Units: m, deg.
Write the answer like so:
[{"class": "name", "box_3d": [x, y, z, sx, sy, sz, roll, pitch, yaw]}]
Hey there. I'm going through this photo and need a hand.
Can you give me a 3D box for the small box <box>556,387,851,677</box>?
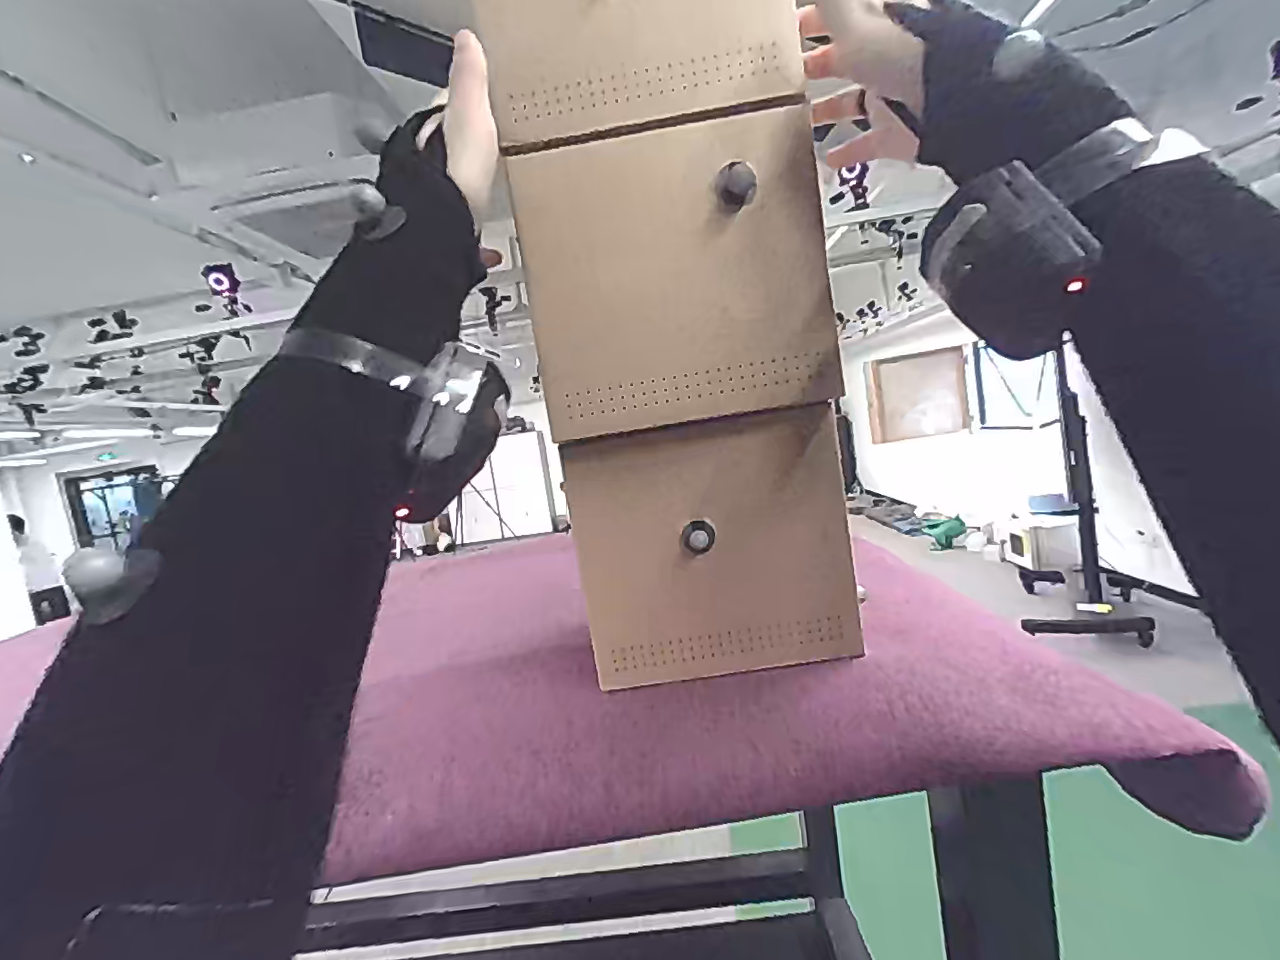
[{"class": "small box", "box_3d": [0.049, 0.030, 0.416, 0.179, 0.176, 0.168, -10, 5, 3]}]
